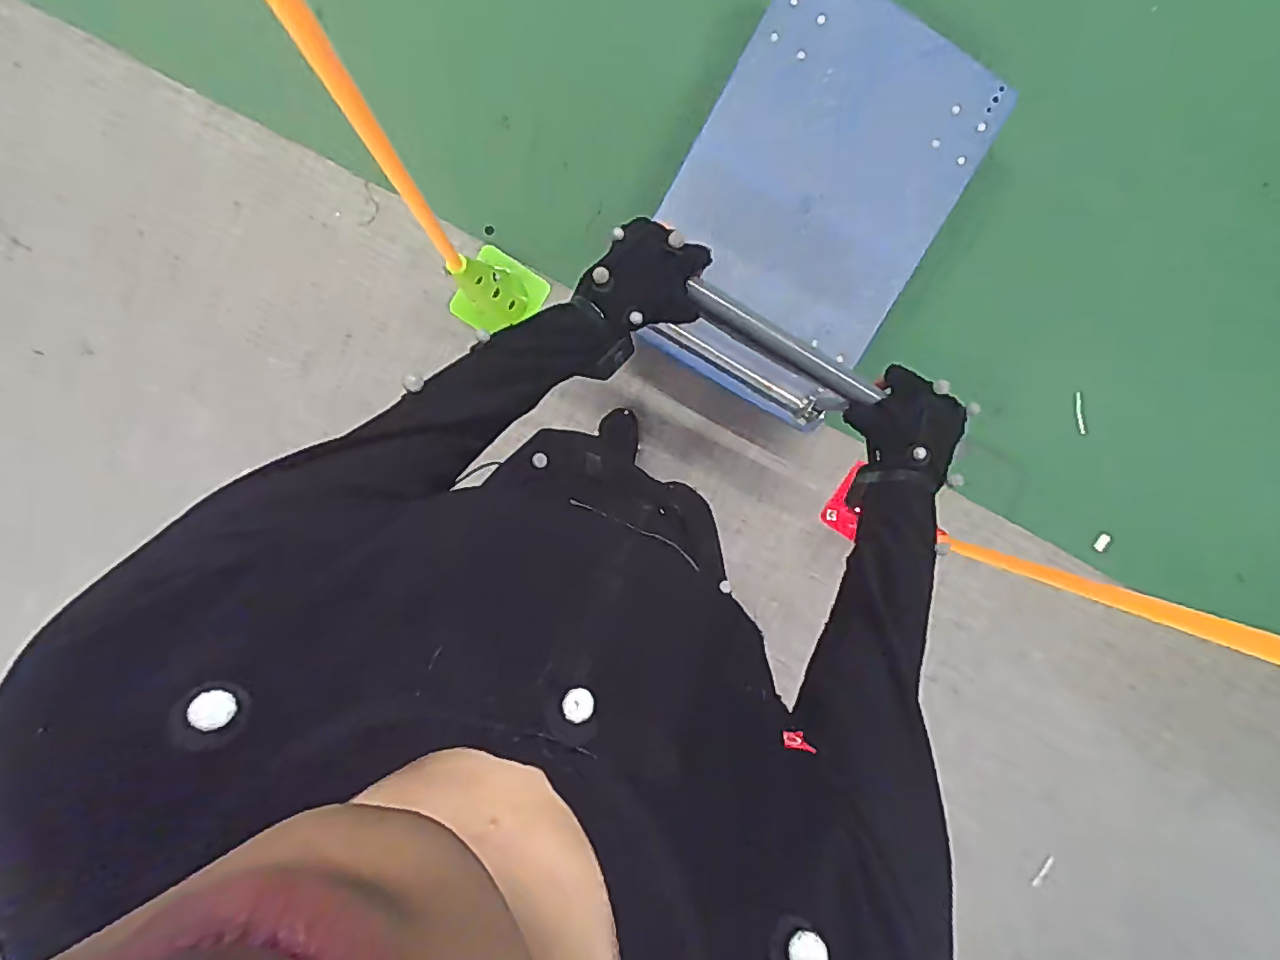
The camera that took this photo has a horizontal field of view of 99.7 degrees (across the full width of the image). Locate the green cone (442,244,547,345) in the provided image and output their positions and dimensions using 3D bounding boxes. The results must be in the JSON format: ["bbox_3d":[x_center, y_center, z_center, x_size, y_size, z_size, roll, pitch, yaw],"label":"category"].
[{"bbox_3d":[-0.362,-0.456,1.225,0.202,0.368,0.200,32,96,-4],"label":"green cone"}]
